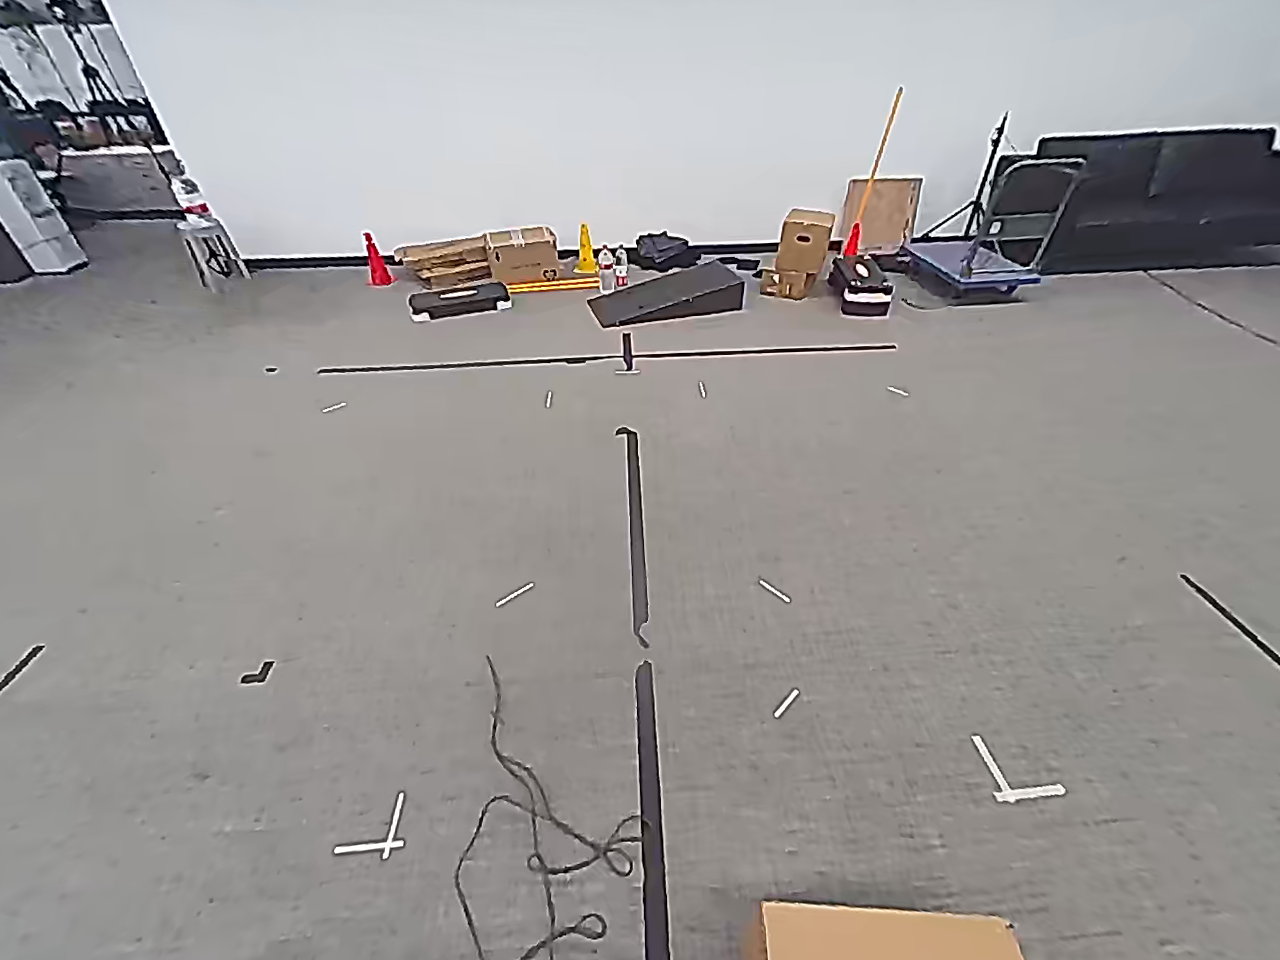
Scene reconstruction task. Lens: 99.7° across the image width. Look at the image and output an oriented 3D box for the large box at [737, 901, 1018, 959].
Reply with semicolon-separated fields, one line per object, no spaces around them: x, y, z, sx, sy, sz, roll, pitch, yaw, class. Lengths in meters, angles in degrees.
0.387;0.923;0.867;0.408;0.320;0.320;3;39;2;large box
